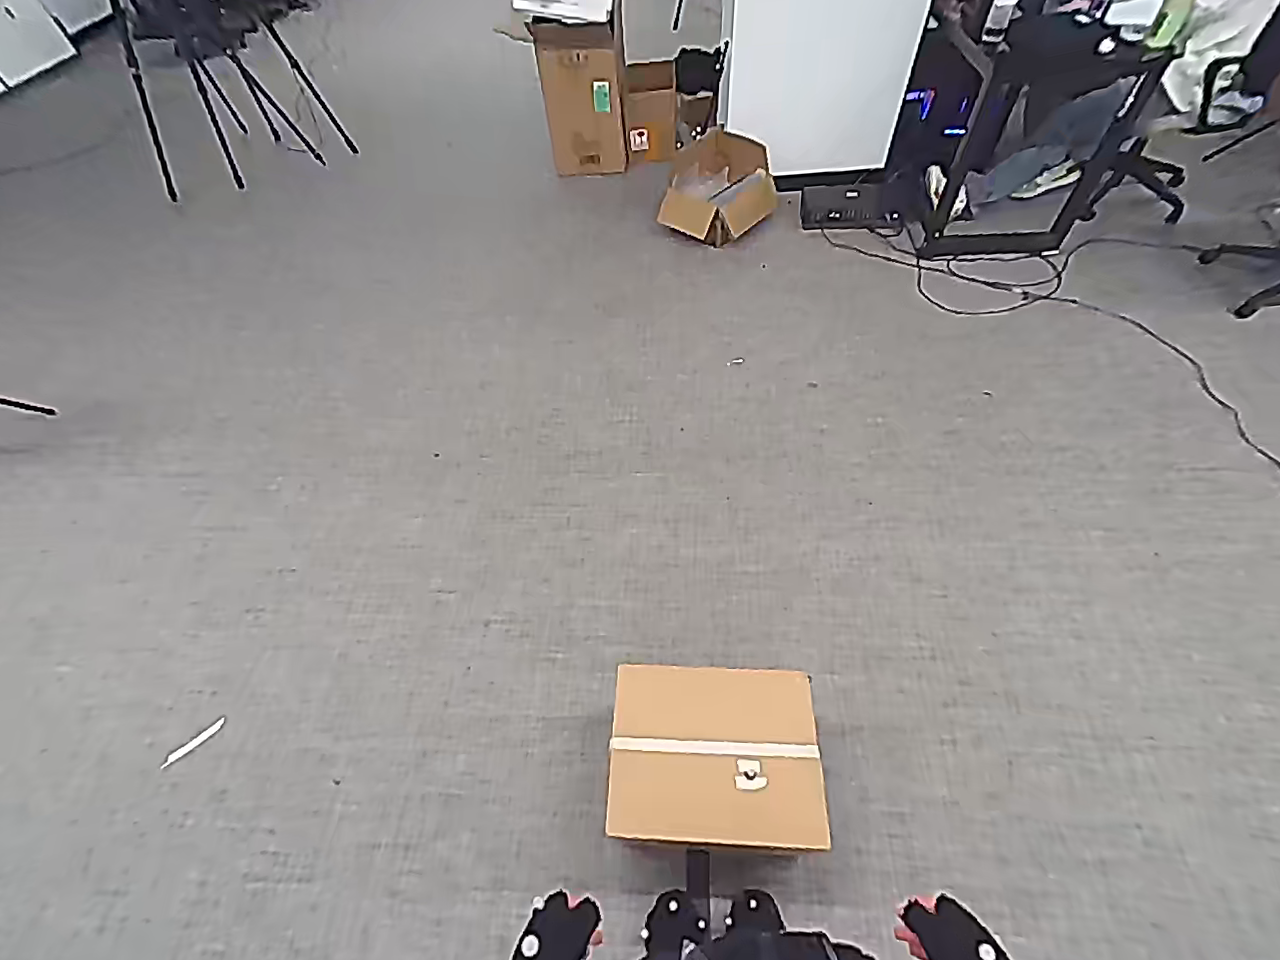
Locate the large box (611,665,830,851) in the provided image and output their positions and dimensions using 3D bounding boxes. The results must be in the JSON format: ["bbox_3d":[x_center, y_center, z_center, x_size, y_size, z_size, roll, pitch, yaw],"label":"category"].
[{"bbox_3d":[0.154,0.612,1.179,0.408,0.320,0.320,1,54,4],"label":"large box"}]
